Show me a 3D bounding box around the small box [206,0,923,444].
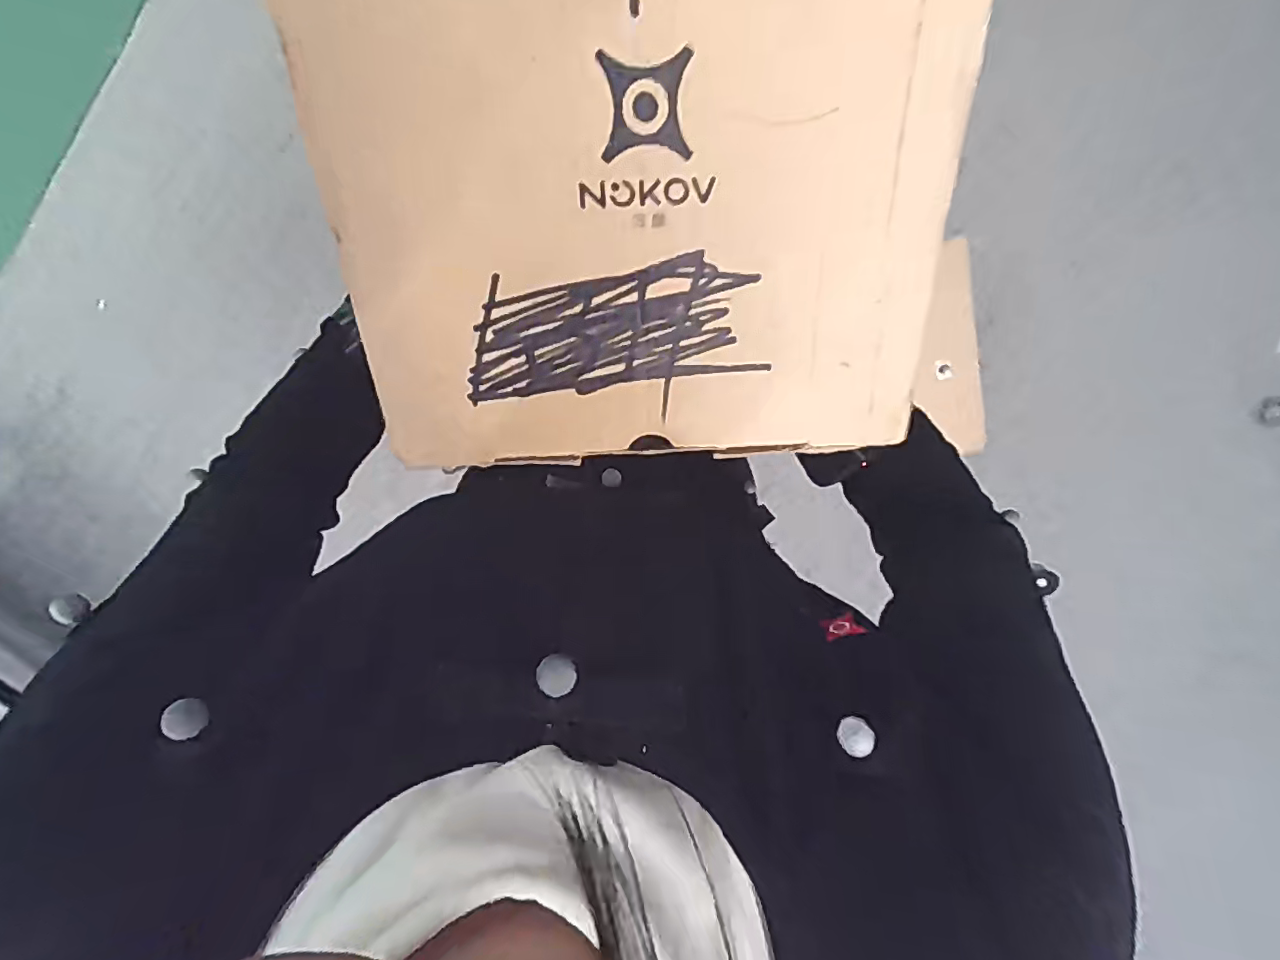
[{"bbox_3d":[-0.017,-0.128,0.205,0.168,0.176,0.179,-3,117,-1],"label":"small box"}]
